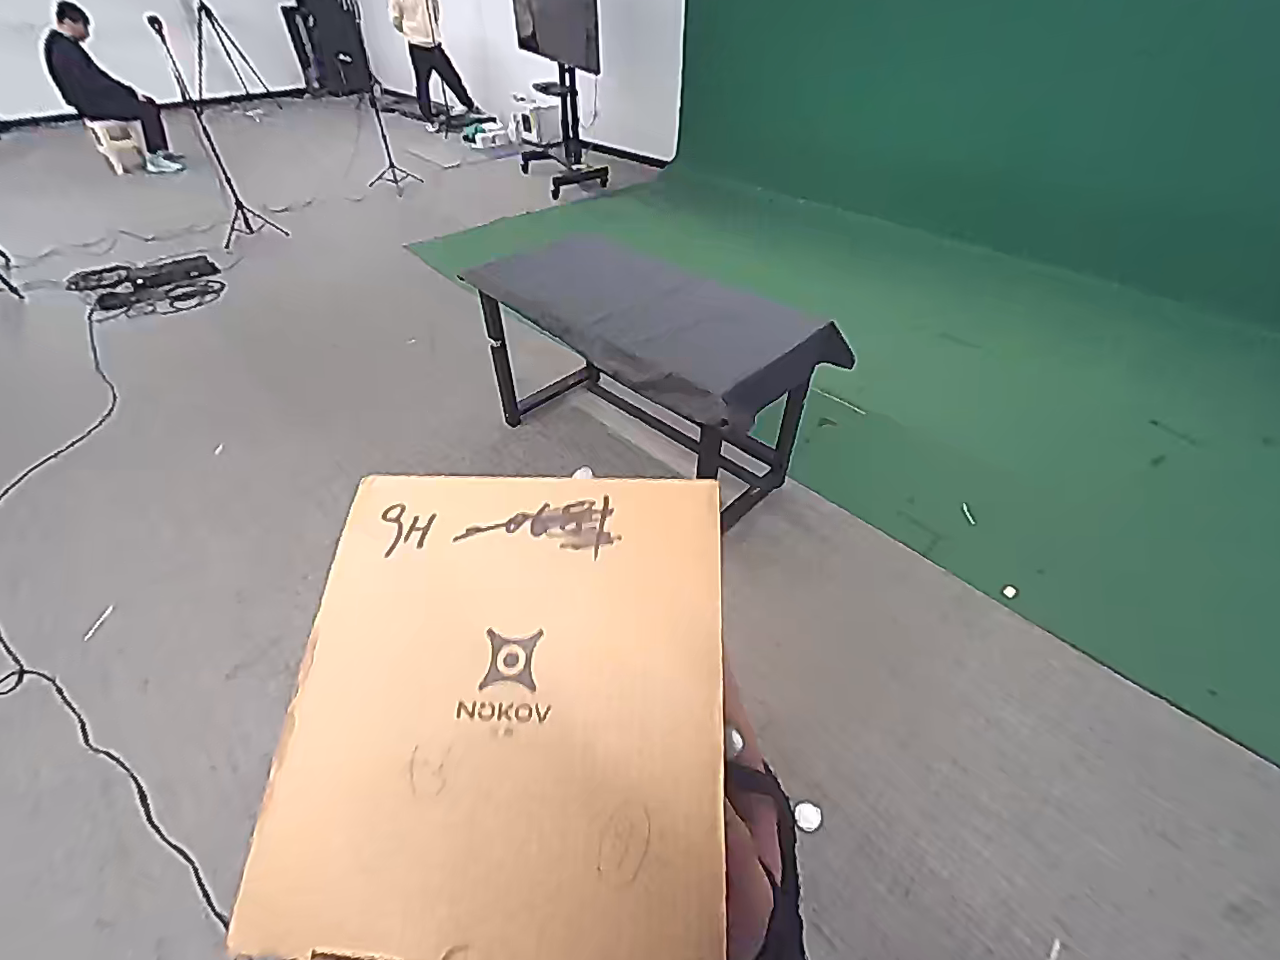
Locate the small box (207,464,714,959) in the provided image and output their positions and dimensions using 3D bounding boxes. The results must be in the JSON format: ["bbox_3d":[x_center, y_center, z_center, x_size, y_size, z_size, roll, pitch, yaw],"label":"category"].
[{"bbox_3d":[-0.050,0.106,0.273,0.168,0.176,0.179,1,65,3],"label":"small box"}]
